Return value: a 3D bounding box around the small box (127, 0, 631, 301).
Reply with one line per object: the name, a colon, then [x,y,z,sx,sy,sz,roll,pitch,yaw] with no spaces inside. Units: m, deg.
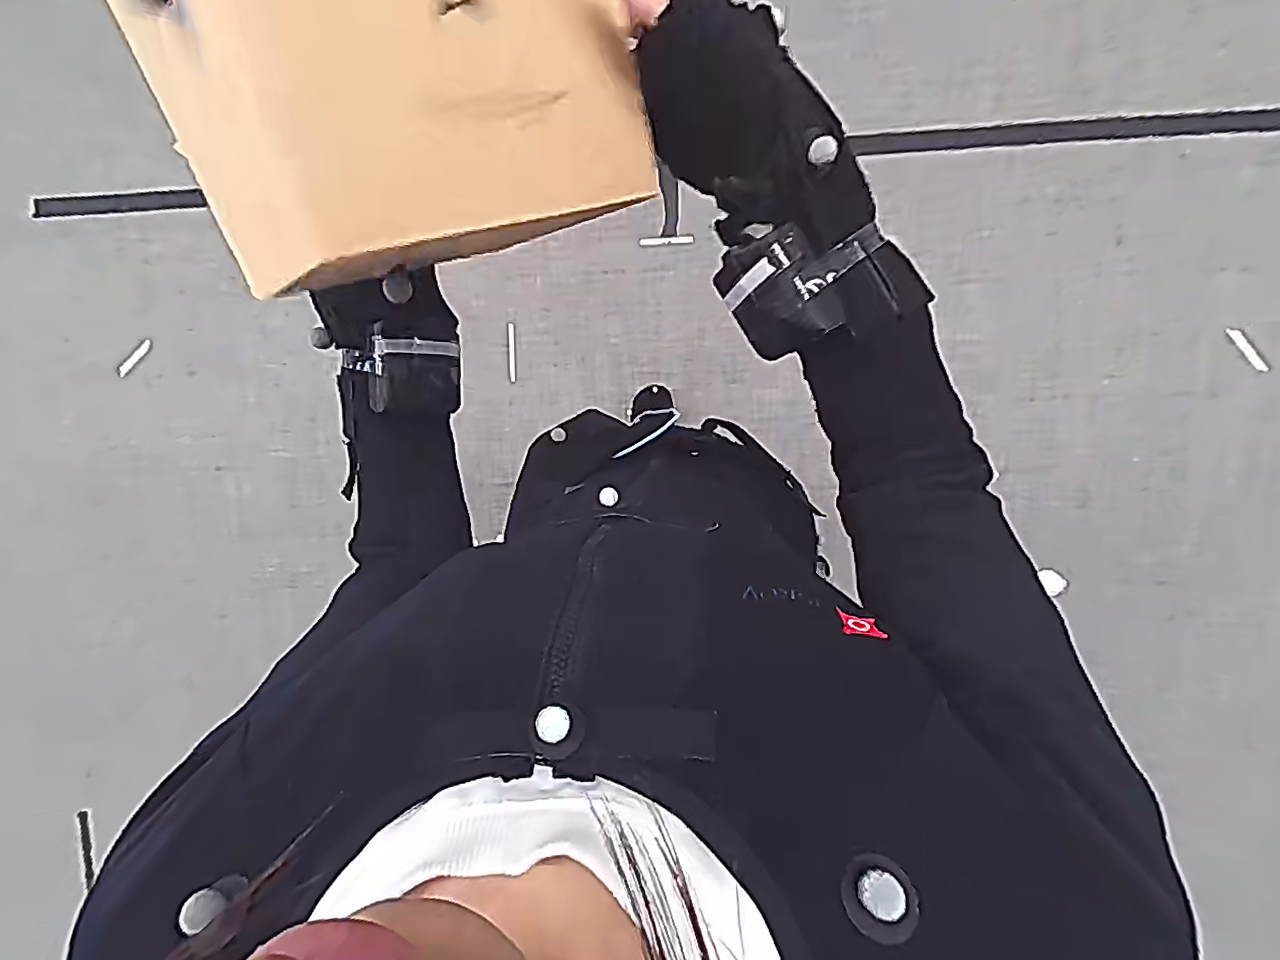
small box: [-0.135,-0.205,0.278,0.168,0.176,0.179,-29,116,-29]
